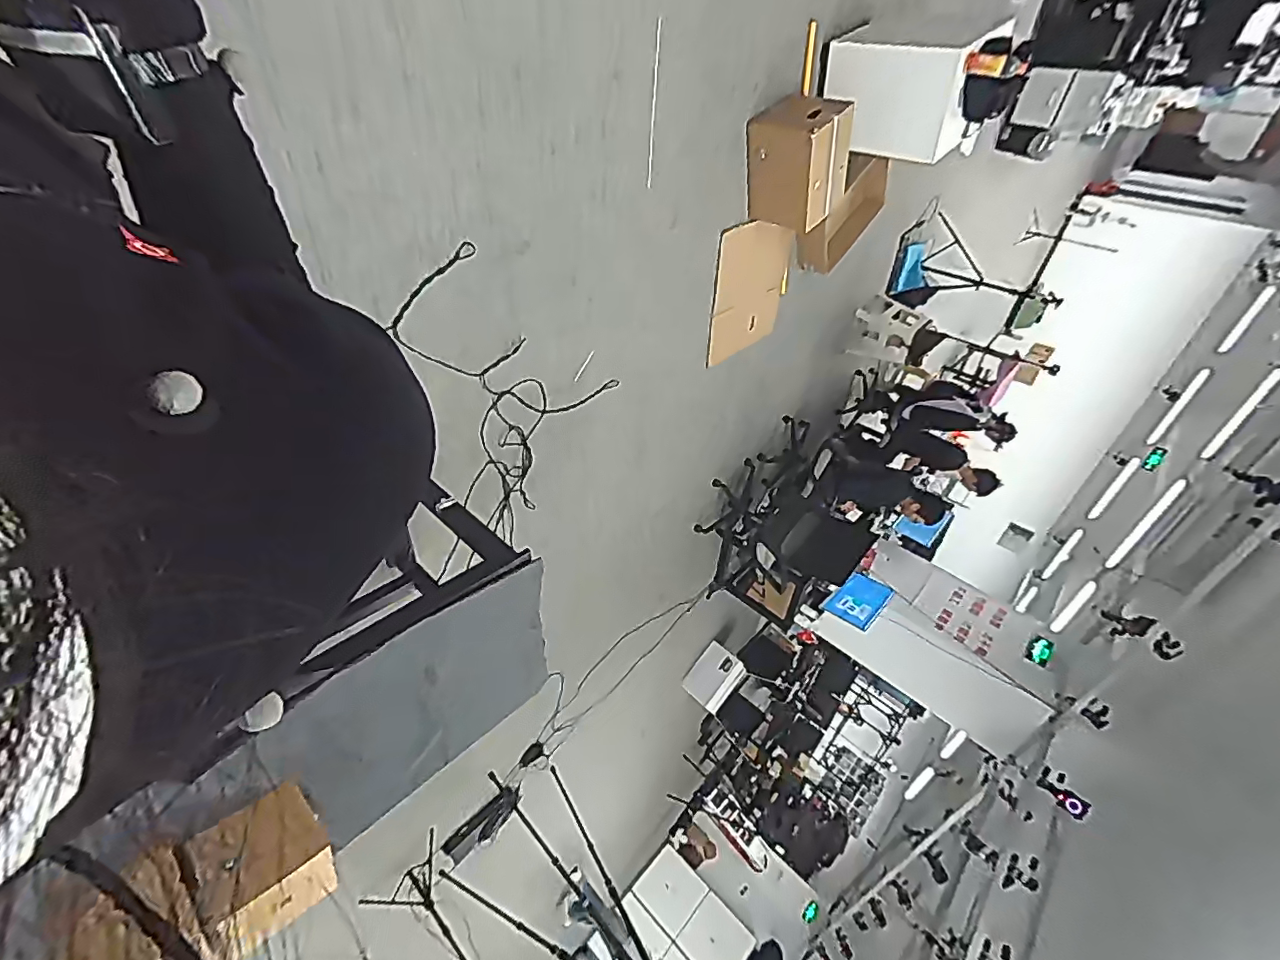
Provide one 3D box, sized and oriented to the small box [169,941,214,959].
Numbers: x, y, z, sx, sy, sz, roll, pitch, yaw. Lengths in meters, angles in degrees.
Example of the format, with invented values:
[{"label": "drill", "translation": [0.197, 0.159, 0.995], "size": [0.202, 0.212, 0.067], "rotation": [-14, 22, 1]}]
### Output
[{"label": "small box", "translation": [-0.699, 0.837, 0.783], "size": [0.179, 0.176, 0.168], "rotation": [-21, 133, -44]}]
